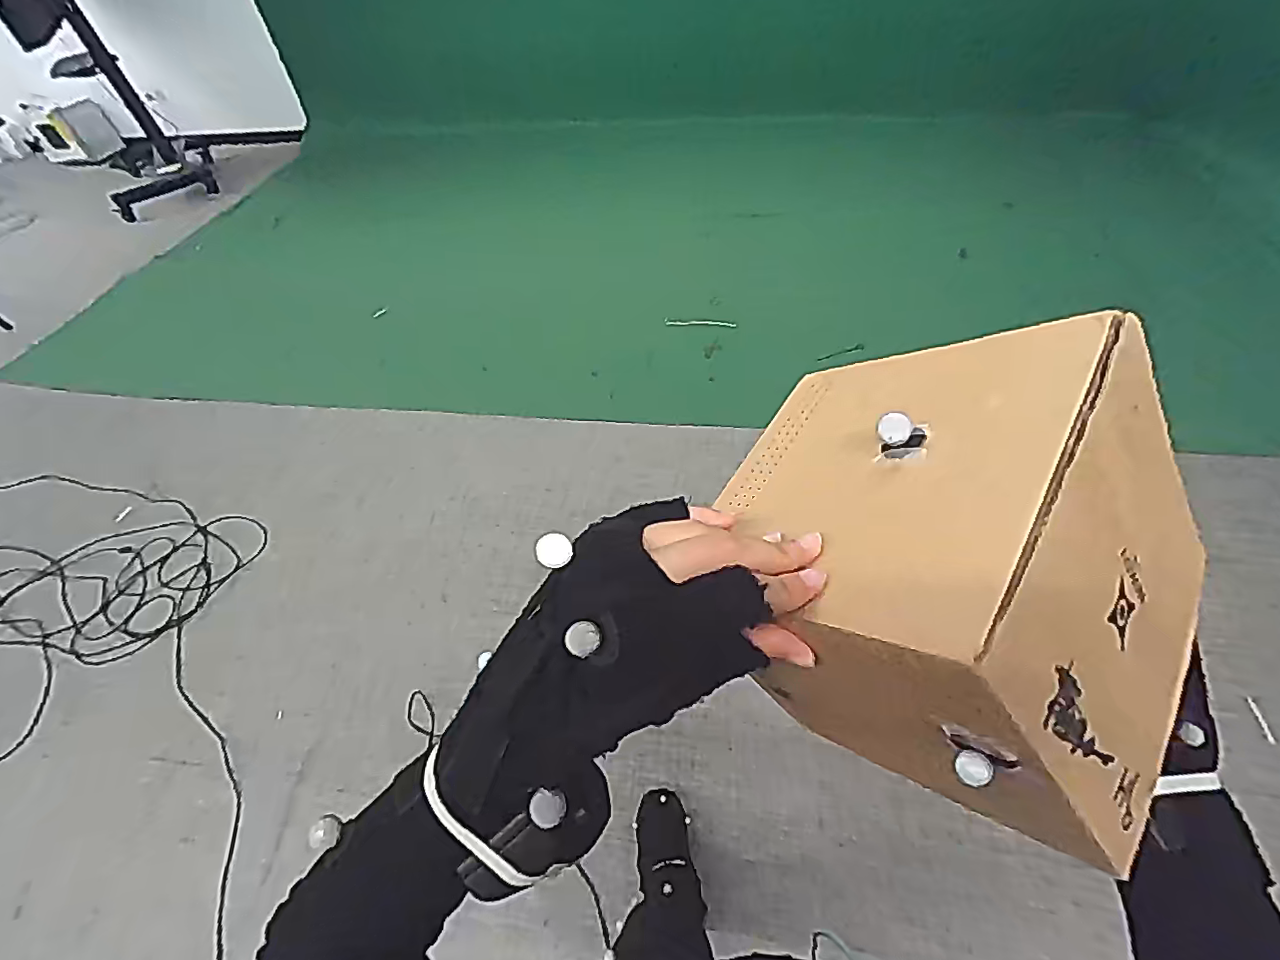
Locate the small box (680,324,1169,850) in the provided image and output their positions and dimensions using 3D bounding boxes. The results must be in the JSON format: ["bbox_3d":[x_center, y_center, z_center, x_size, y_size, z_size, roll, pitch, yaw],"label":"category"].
[{"bbox_3d":[0.154,0.046,0.304,0.179,0.168,0.176,-53,25,-23],"label":"small box"}]
